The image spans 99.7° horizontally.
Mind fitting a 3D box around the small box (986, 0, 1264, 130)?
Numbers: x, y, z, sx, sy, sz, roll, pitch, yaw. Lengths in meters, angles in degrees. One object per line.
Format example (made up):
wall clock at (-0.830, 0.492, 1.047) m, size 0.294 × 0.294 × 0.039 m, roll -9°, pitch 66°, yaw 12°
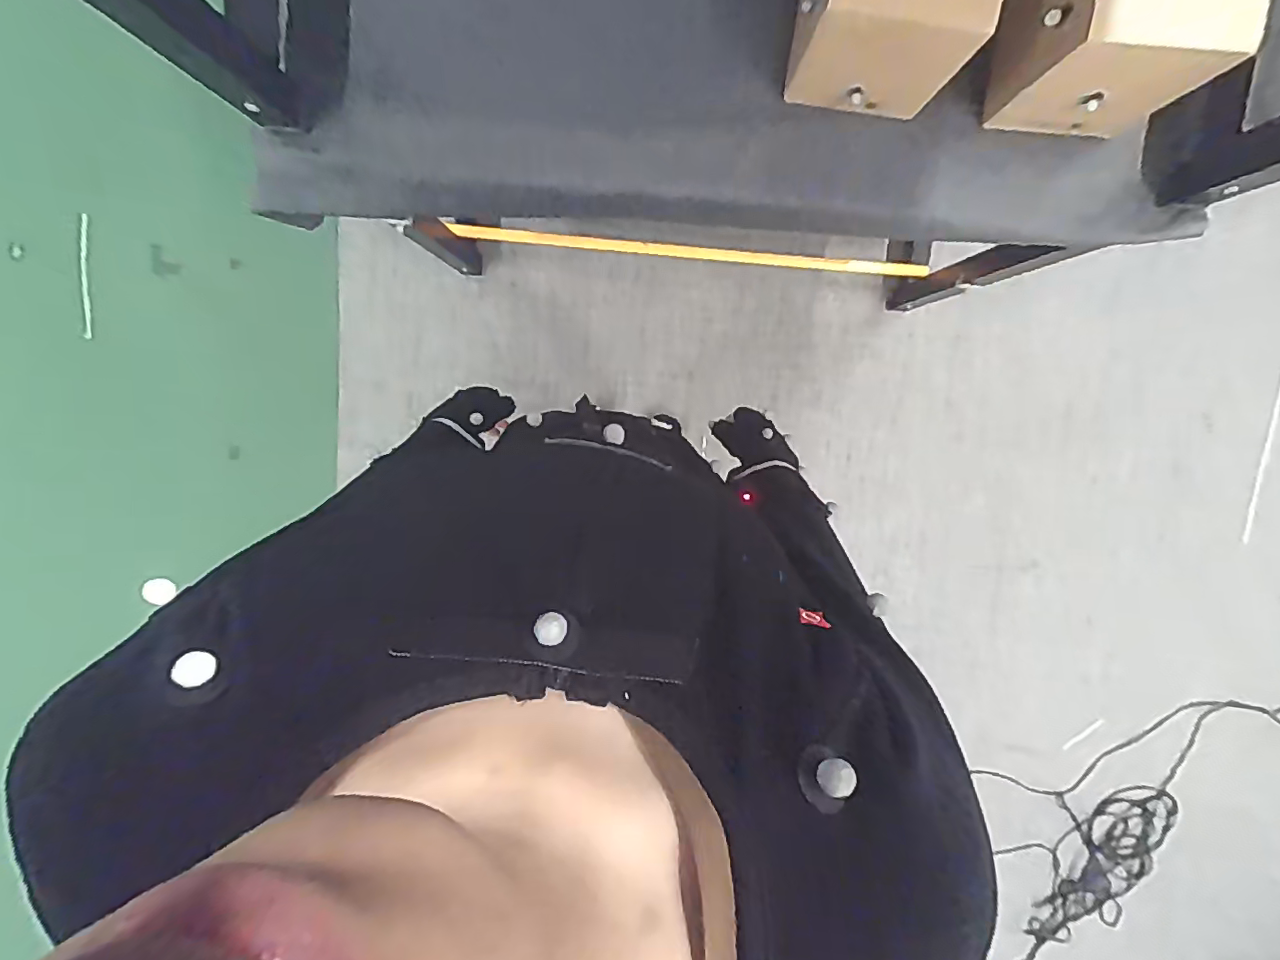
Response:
small box at (0.514, -0.513, 0.586) m, size 0.168 × 0.176 × 0.179 m, roll 4°, pitch 98°, yaw -1°
